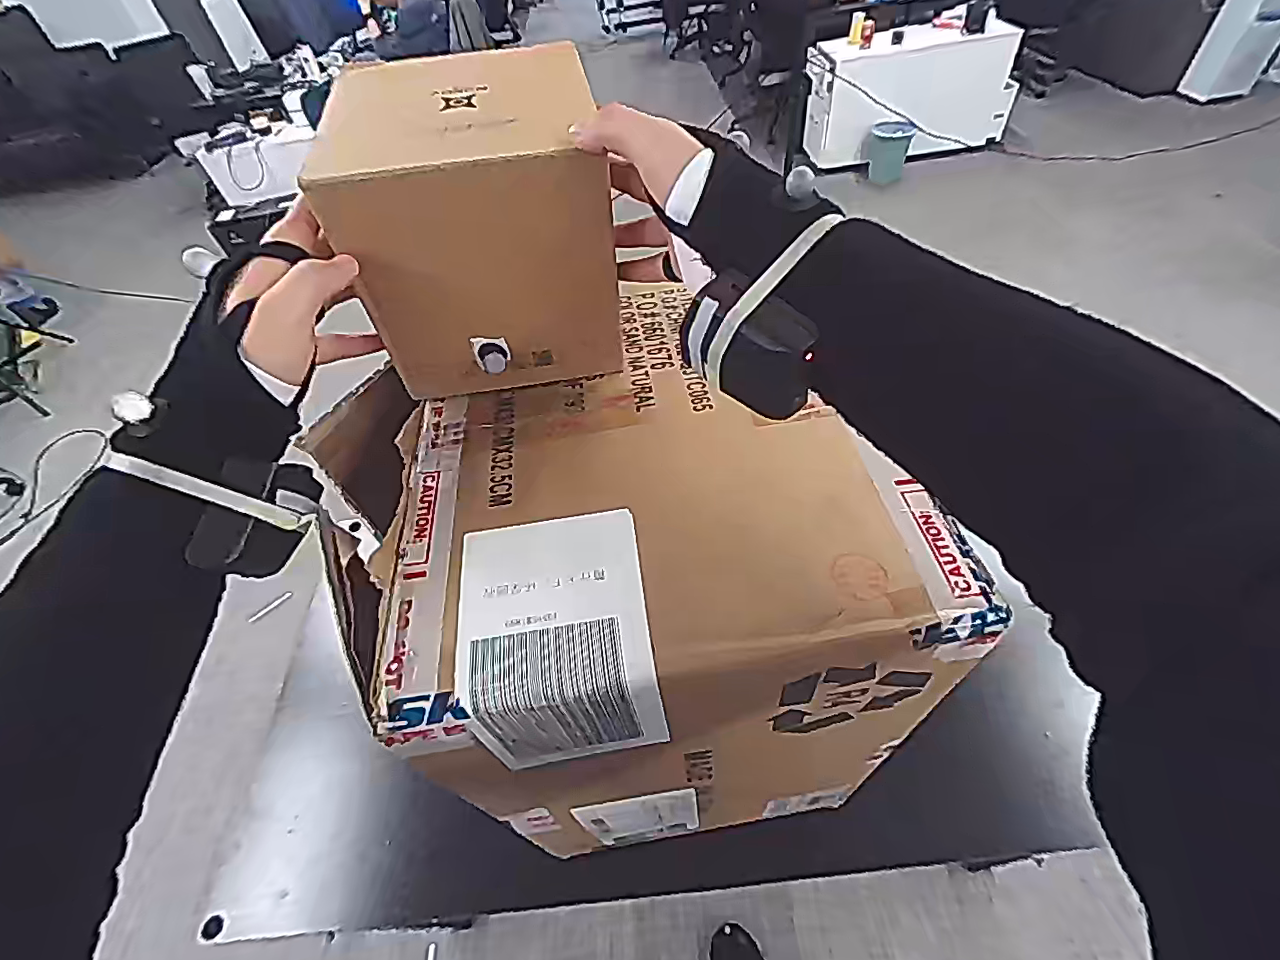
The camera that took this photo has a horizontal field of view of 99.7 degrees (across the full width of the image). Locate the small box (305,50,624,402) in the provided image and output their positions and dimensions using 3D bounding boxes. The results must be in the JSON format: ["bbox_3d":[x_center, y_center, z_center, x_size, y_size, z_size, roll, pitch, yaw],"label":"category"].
[{"bbox_3d":[-0.109,-0.185,0.404,0.168,0.176,0.179,-11,55,-4],"label":"small box"}]
